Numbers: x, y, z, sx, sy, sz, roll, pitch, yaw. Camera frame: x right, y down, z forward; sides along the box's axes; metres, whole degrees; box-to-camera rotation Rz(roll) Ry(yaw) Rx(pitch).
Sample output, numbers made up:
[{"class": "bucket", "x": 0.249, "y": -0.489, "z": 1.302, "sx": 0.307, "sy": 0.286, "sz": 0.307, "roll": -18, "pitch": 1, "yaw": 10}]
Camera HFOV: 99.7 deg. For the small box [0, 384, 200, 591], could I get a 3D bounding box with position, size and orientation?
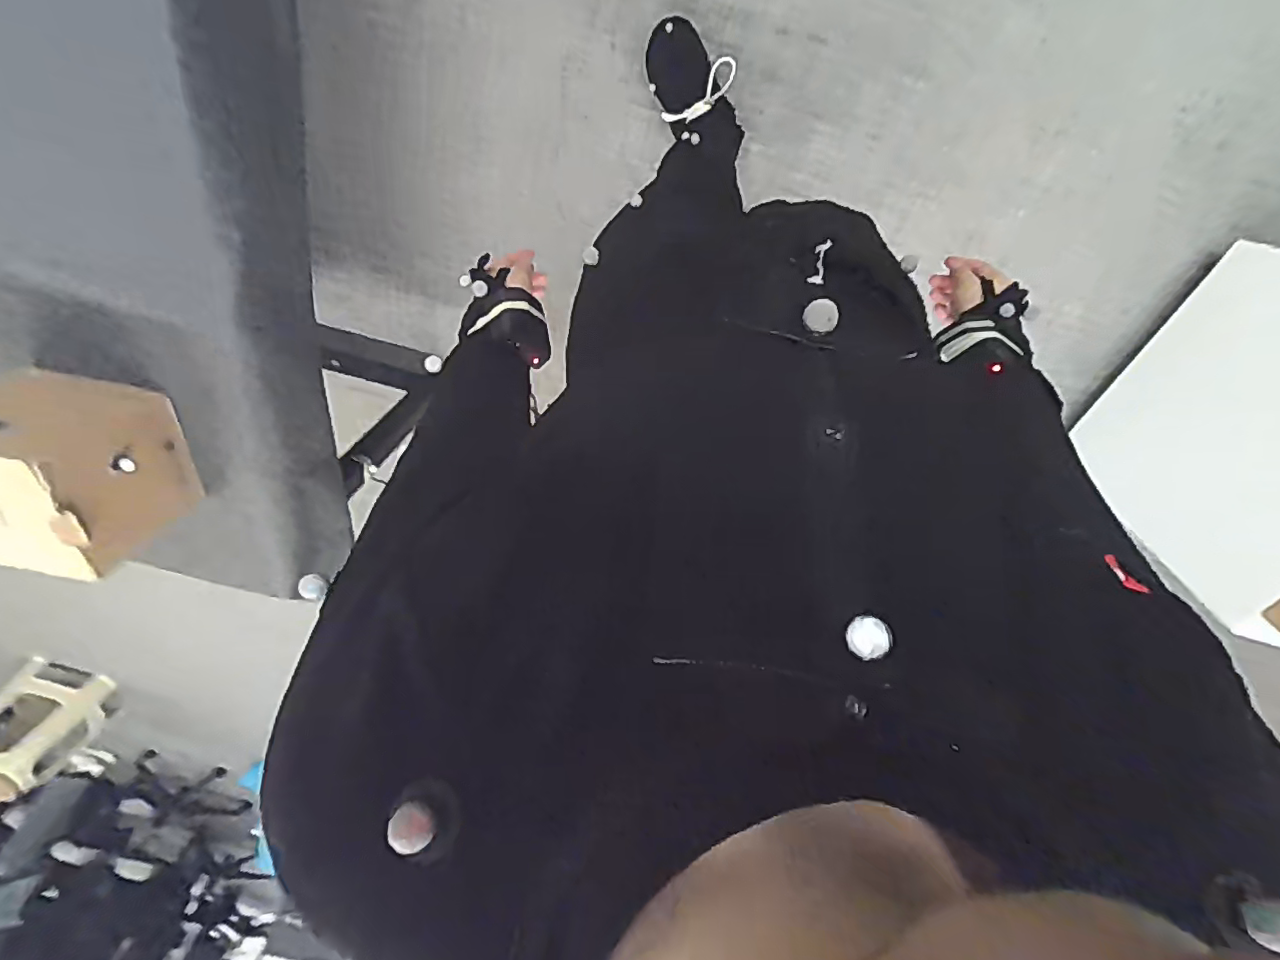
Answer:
[{"class": "small box", "x": -0.672, "y": 0.001, "z": 0.639, "sx": 0.179, "sy": 0.176, "sz": 0.168, "roll": 11, "pitch": 123, "yaw": 1}]
